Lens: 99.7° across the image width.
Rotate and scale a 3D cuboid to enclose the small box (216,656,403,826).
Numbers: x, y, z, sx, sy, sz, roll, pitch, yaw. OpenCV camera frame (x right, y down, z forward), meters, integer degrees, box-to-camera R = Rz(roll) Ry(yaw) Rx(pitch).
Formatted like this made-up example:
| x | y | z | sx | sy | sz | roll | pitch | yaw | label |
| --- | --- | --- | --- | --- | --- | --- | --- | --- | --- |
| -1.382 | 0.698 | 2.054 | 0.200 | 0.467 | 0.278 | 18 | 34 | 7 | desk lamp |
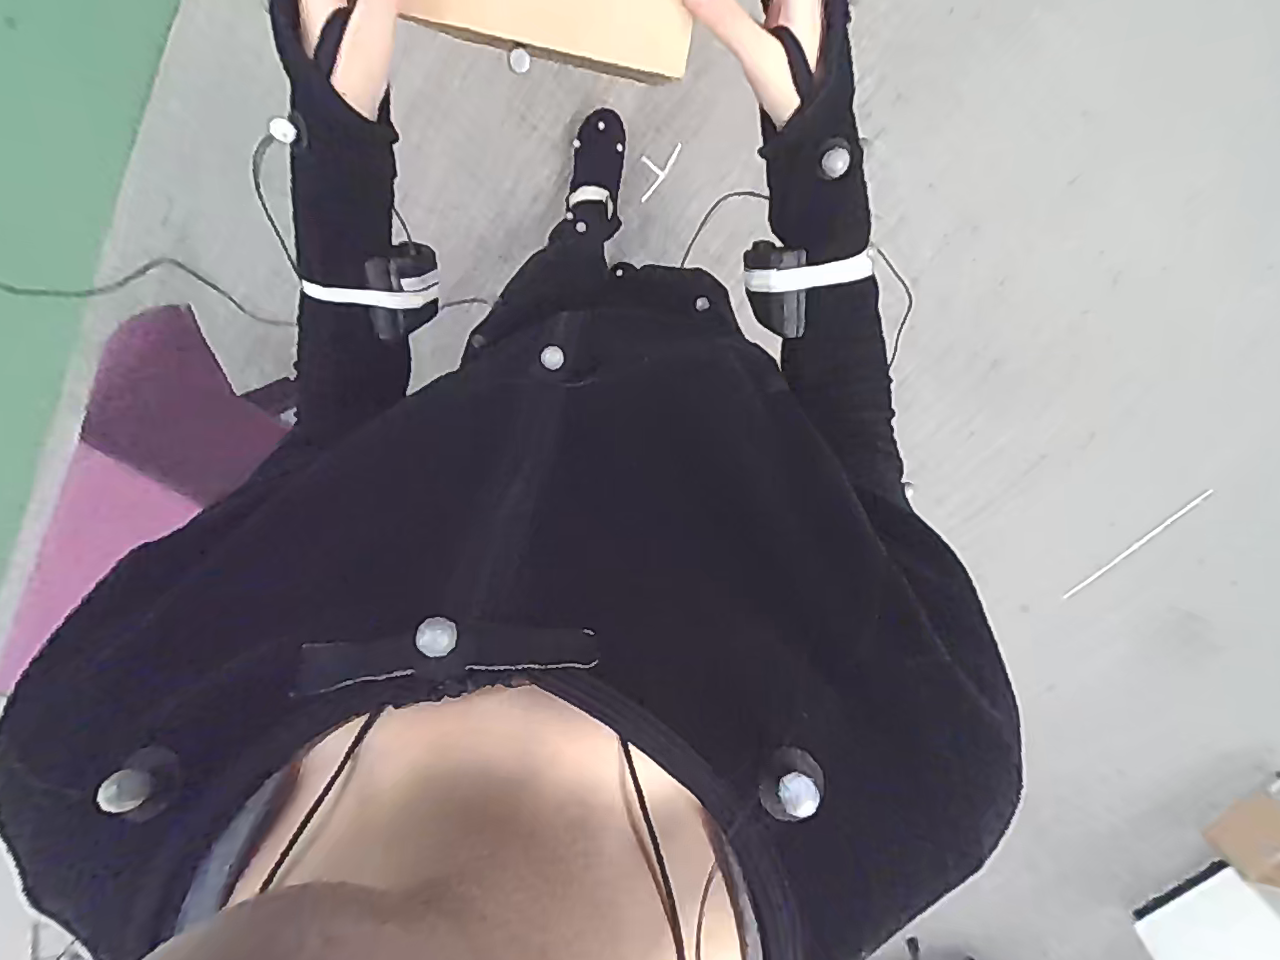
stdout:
| x | y | z | sx | sy | sz | roll | pitch | yaw | label |
| --- | --- | --- | --- | --- | --- | --- | --- | --- | --- |
| -0.541 | 0.425 | 0.907 | 0.179 | 0.176 | 0.168 | 38 | 111 | -15 | small box |
